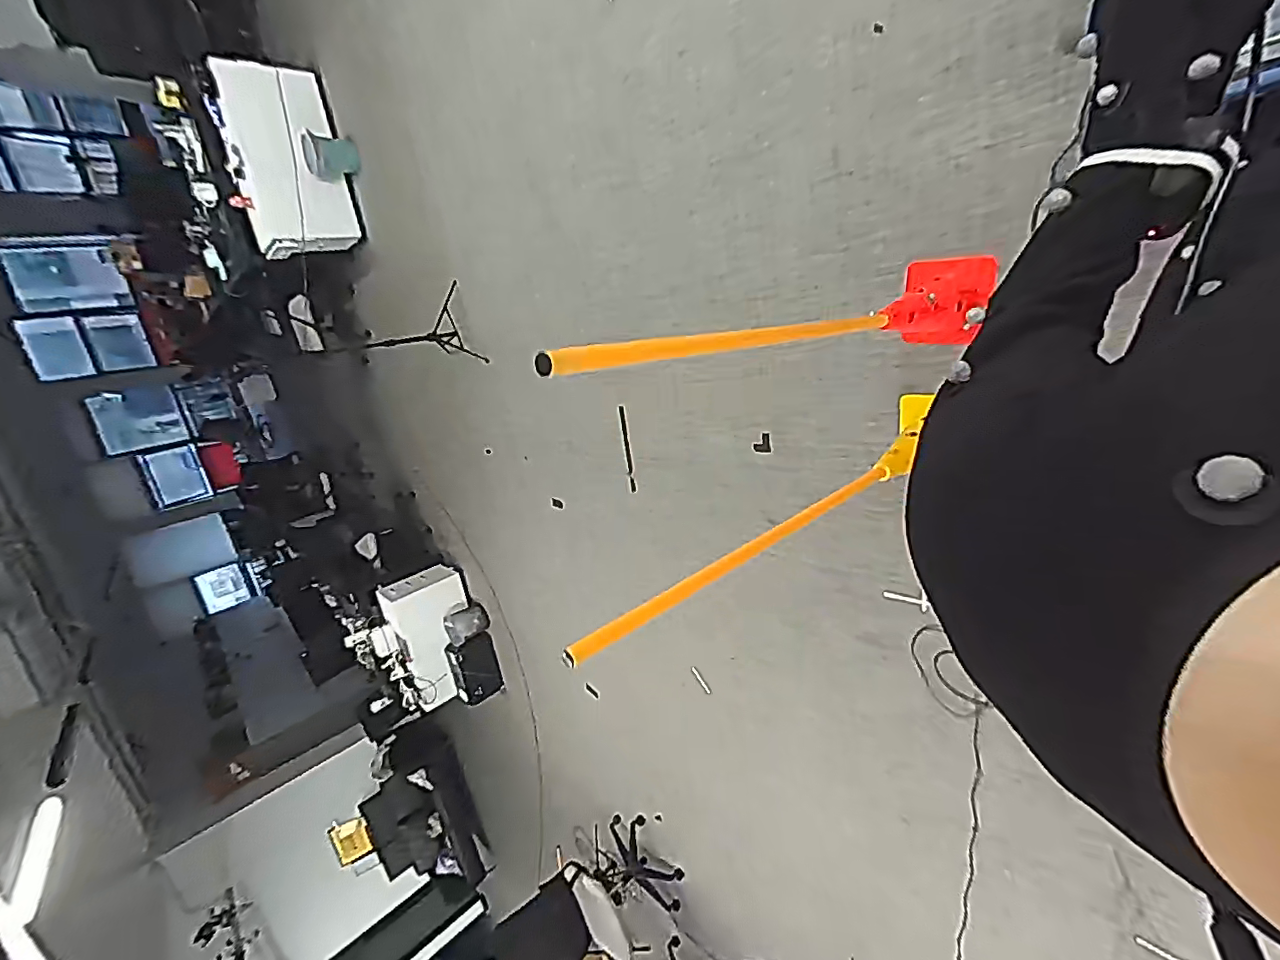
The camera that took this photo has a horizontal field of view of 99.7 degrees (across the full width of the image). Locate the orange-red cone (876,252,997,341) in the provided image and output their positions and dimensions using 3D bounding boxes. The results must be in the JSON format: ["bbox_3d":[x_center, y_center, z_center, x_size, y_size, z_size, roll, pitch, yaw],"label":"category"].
[{"bbox_3d":[0.616,-0.392,1.198,0.198,0.360,0.199,17,119,43],"label":"orange-red cone"}]
